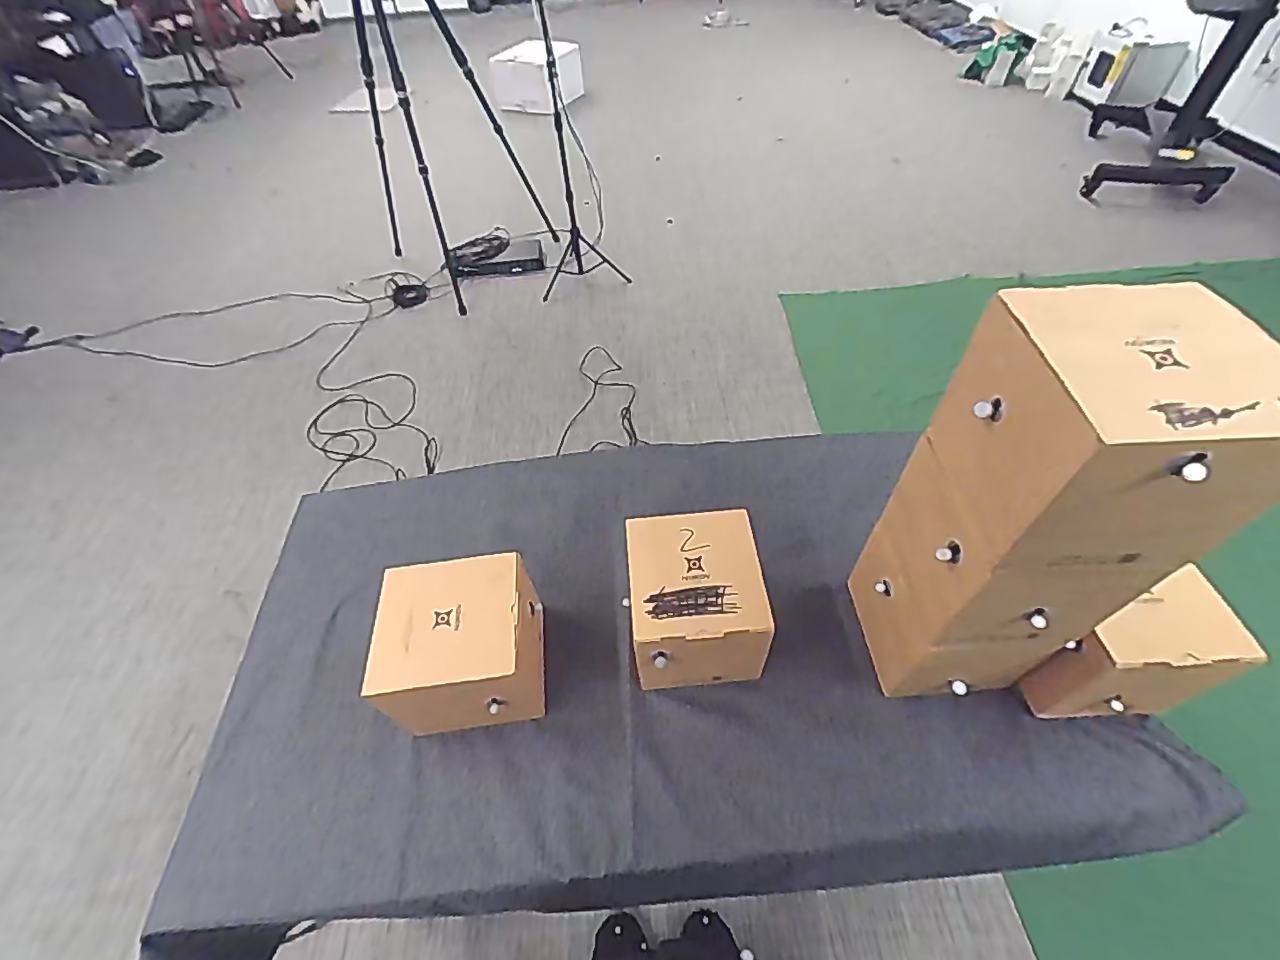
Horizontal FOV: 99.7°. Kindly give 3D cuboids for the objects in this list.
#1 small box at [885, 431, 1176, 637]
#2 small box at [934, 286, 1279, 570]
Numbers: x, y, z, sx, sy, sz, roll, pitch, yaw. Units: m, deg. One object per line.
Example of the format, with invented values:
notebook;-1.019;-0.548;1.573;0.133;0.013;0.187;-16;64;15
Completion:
small box;0.392;0.061;0.587;0.168;0.176;0.179;-3;50;2
small box;0.381;-0.042;0.459;0.168;0.176;0.179;-2;50;3
